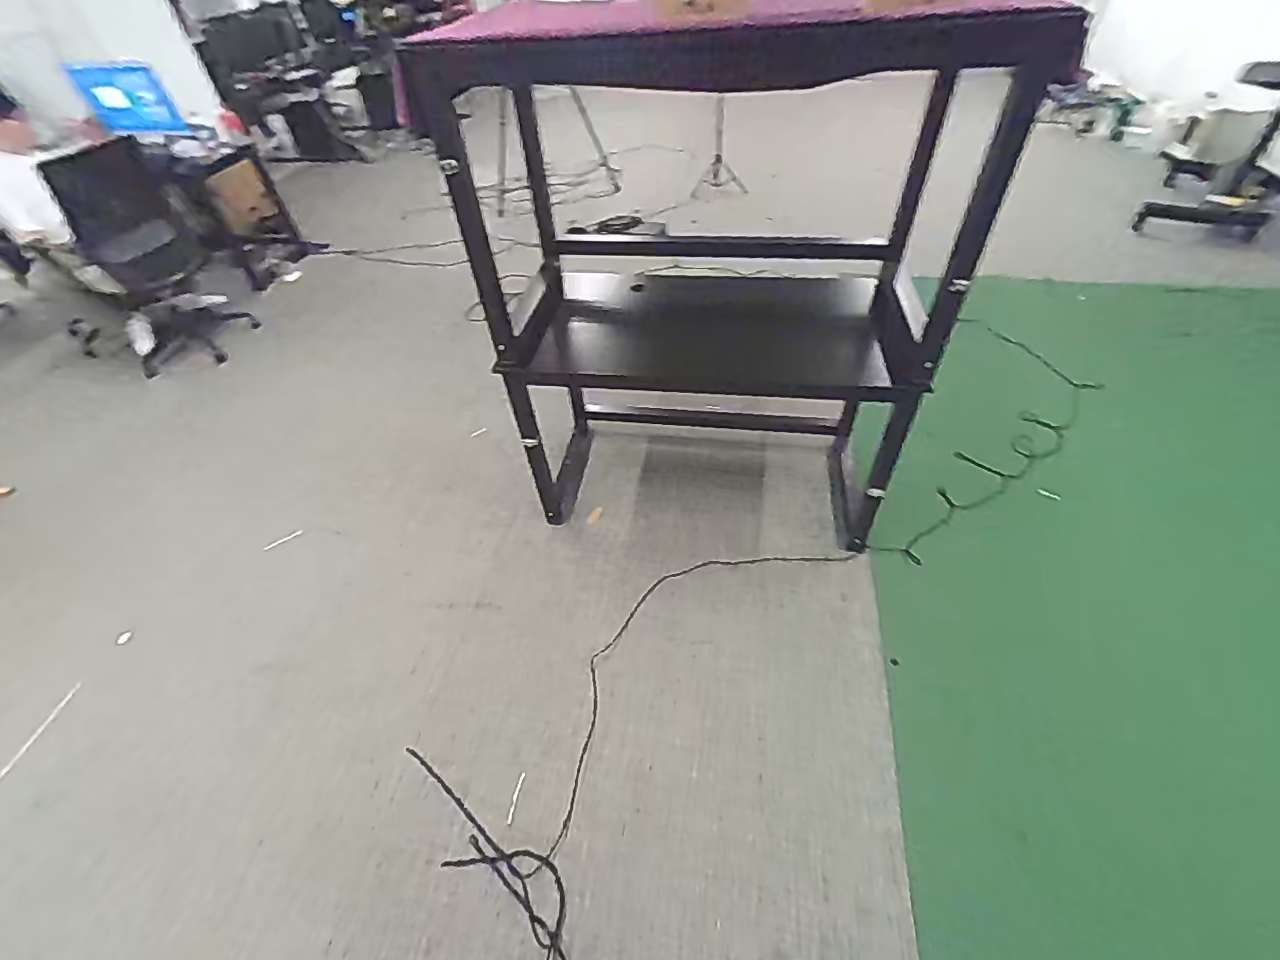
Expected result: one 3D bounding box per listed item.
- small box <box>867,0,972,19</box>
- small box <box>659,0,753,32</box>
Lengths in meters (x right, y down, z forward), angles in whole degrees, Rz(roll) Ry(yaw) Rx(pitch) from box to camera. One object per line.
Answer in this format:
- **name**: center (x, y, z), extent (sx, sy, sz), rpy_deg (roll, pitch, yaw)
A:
- **small box**: center (0.502, -0.925, 0.945), extent (0.168, 0.176, 0.179), rpy_deg (6, 47, 13)
- **small box**: center (0.127, -0.950, 1.003), extent (0.168, 0.176, 0.179), rpy_deg (6, 46, 12)
